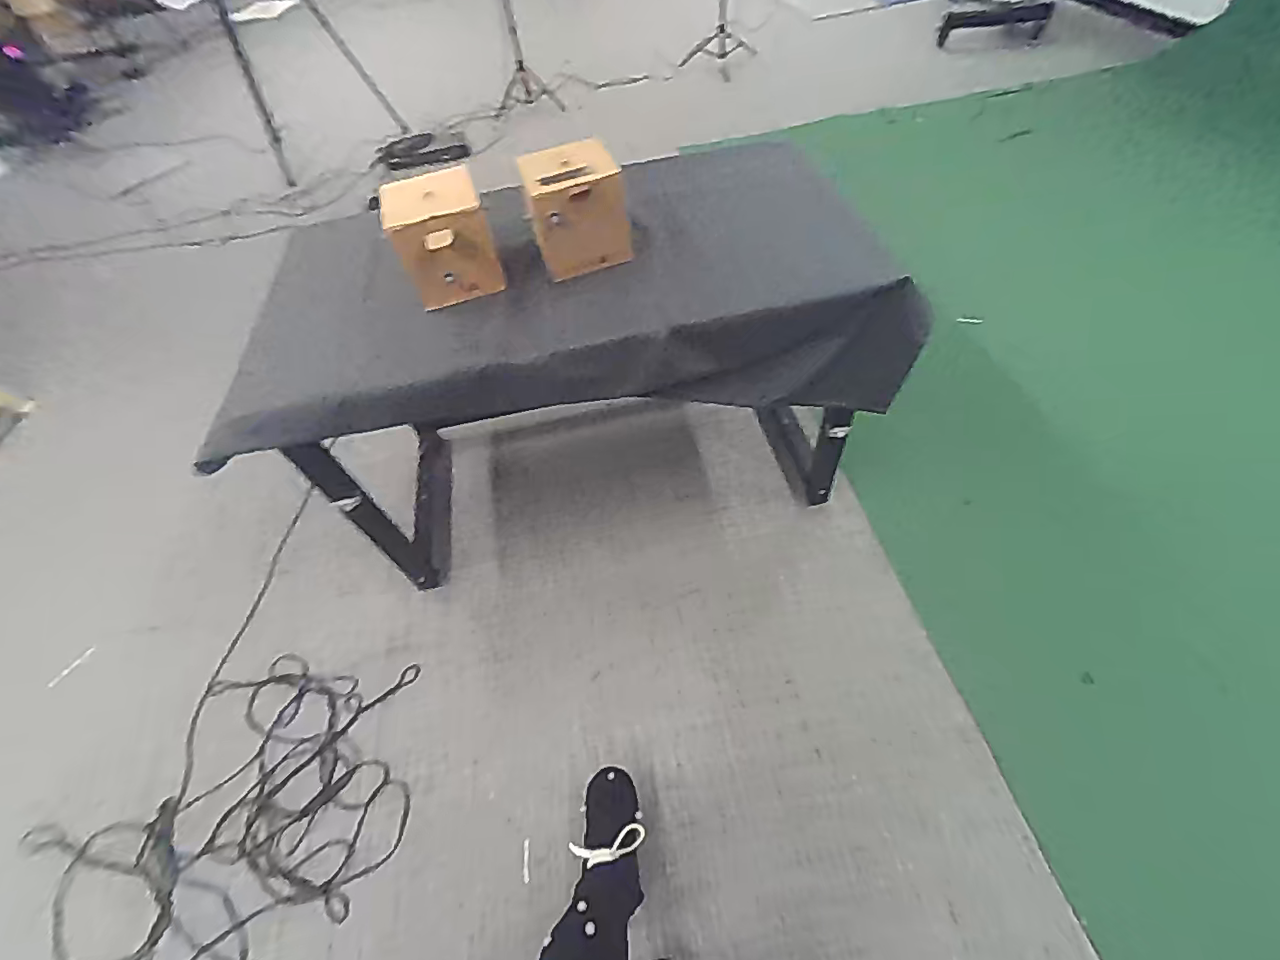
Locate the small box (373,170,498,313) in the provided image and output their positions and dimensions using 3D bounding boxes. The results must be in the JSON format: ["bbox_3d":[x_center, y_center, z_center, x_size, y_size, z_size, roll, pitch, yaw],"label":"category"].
[{"bbox_3d":[-0.382,-0.449,1.023,0.168,0.176,0.179,-19,54,-7],"label":"small box"}]
